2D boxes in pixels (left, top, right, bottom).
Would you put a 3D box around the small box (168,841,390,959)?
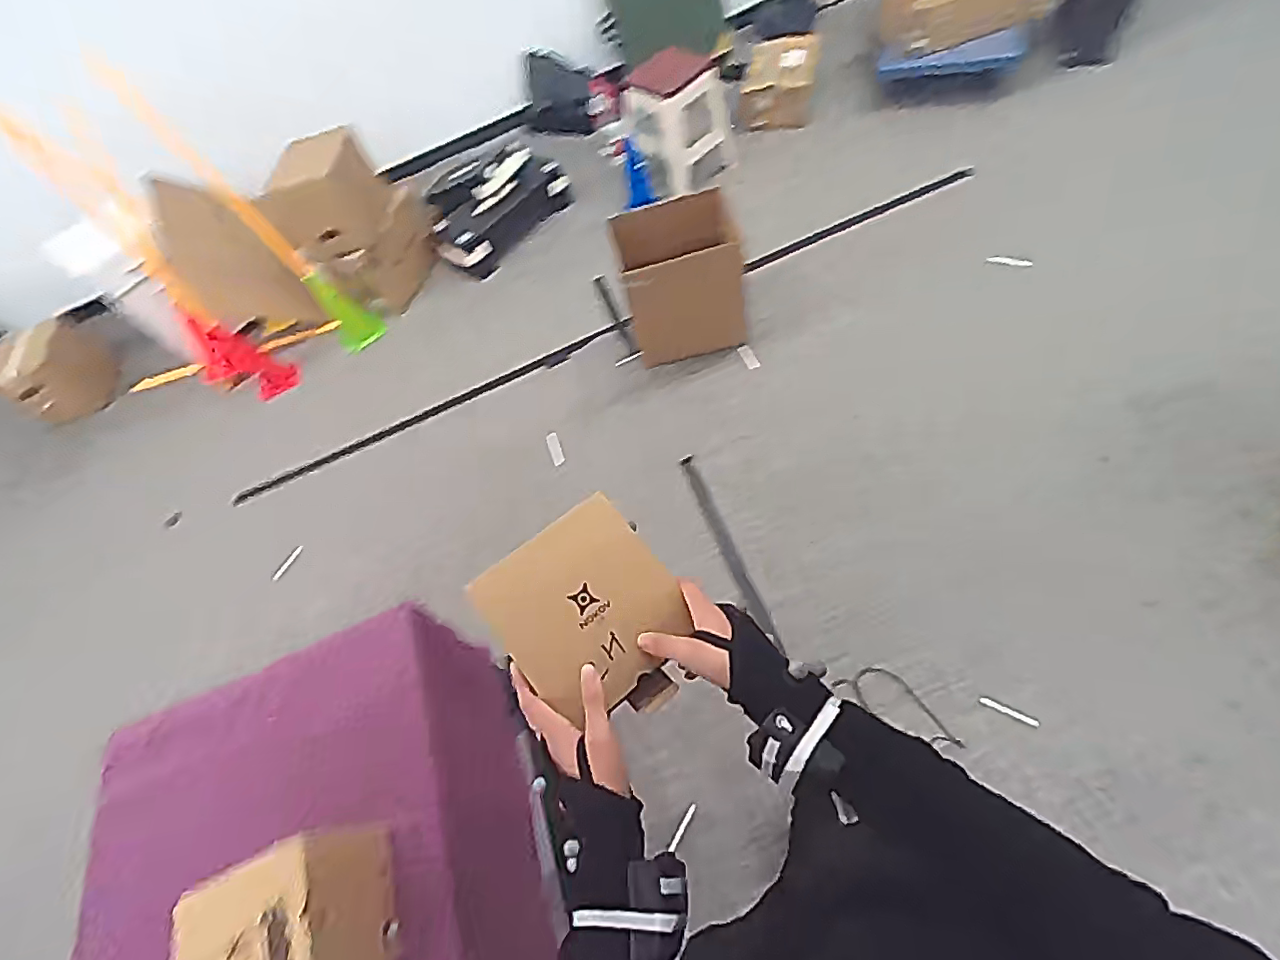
[{"bbox_3d":[-0.442,0.588,0.684,0.179,0.176,0.168,-28,58,-1],"label":"small box"}]
